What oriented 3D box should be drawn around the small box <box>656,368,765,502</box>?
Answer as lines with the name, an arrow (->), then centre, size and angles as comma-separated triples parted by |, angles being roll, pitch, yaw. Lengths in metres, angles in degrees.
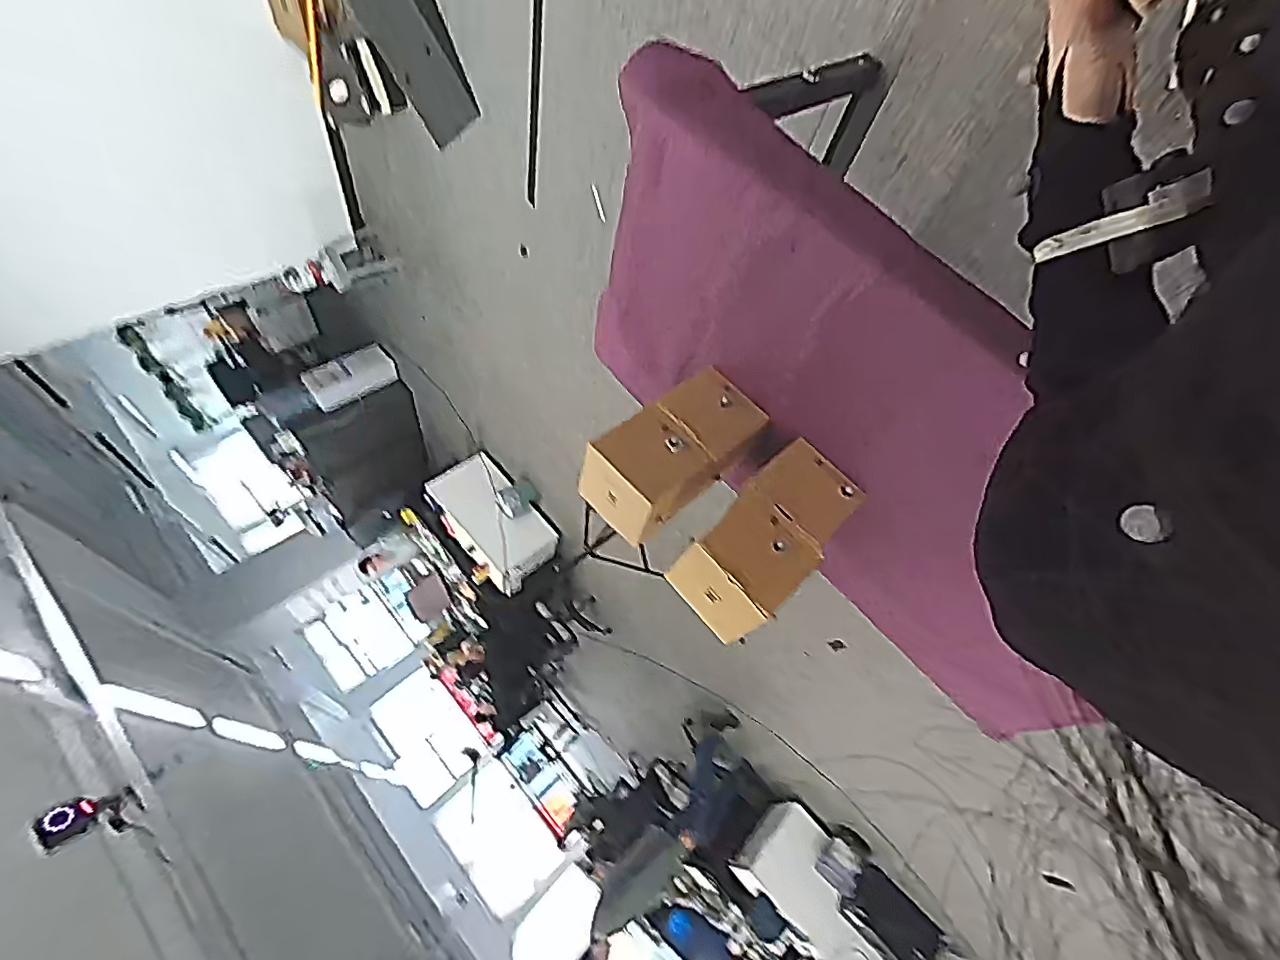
small box -> 0.126, -0.093, 1.109 | 0.168, 0.176, 0.179 | 45, 149, 14

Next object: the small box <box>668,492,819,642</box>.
small box -> 0.182, 0.153, 0.956 | 0.168, 0.176, 0.179 | 47, 149, 12

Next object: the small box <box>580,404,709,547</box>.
small box -> 0.007, -0.010, 1.035 | 0.168, 0.176, 0.179 | 43, 148, 16

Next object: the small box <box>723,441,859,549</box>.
small box -> 0.288, 0.056, 1.035 | 0.168, 0.176, 0.179 | 45, 150, 15
